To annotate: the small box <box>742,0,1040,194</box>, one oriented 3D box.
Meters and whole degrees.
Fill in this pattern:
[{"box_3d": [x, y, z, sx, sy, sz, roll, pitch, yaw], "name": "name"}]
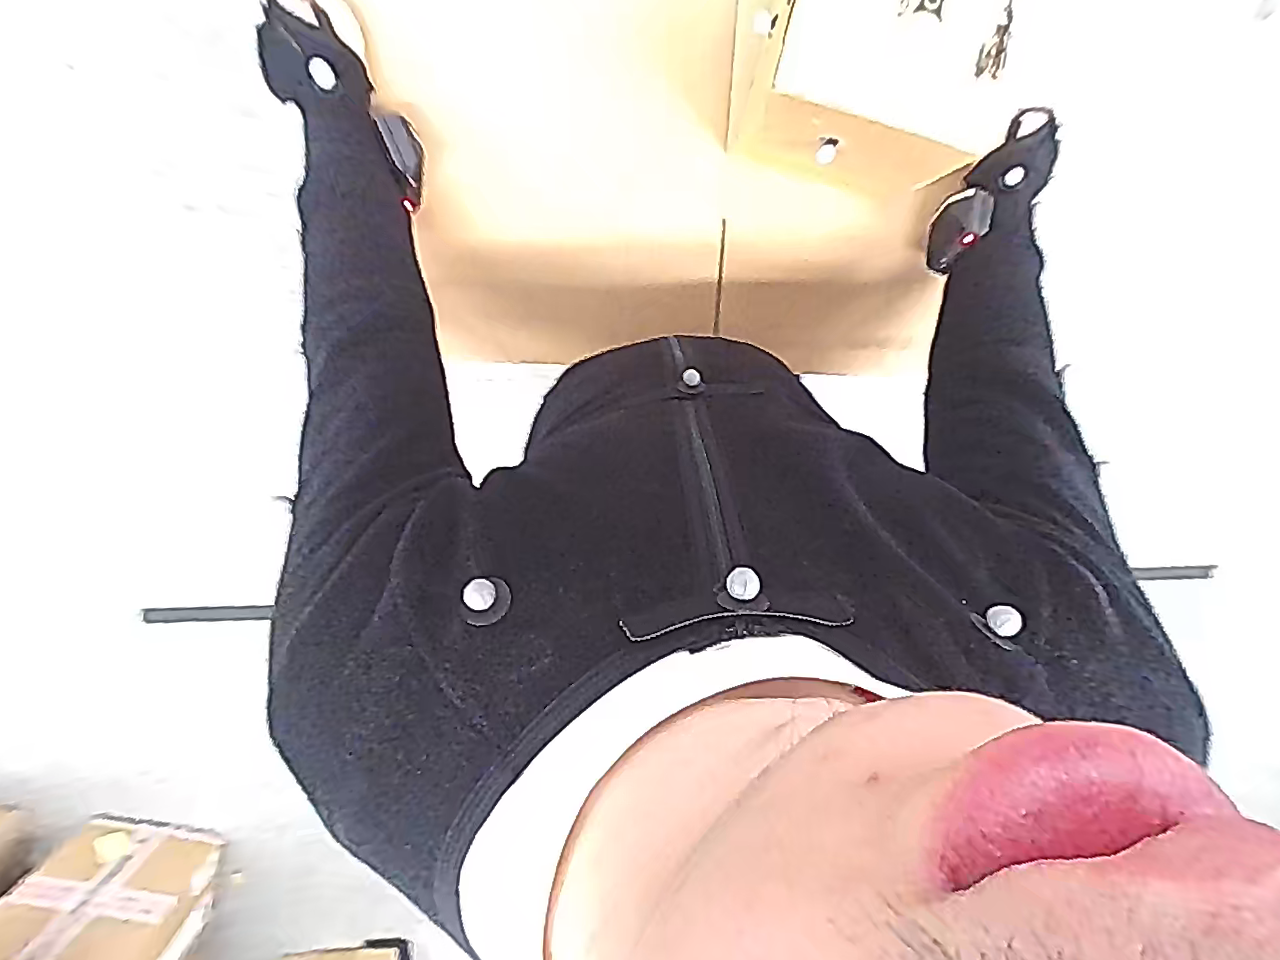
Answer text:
[{"box_3d": [0.203, -0.372, 0.470, 0.179, 0.176, 0.168, 15, 105, -4], "name": "small box"}]
